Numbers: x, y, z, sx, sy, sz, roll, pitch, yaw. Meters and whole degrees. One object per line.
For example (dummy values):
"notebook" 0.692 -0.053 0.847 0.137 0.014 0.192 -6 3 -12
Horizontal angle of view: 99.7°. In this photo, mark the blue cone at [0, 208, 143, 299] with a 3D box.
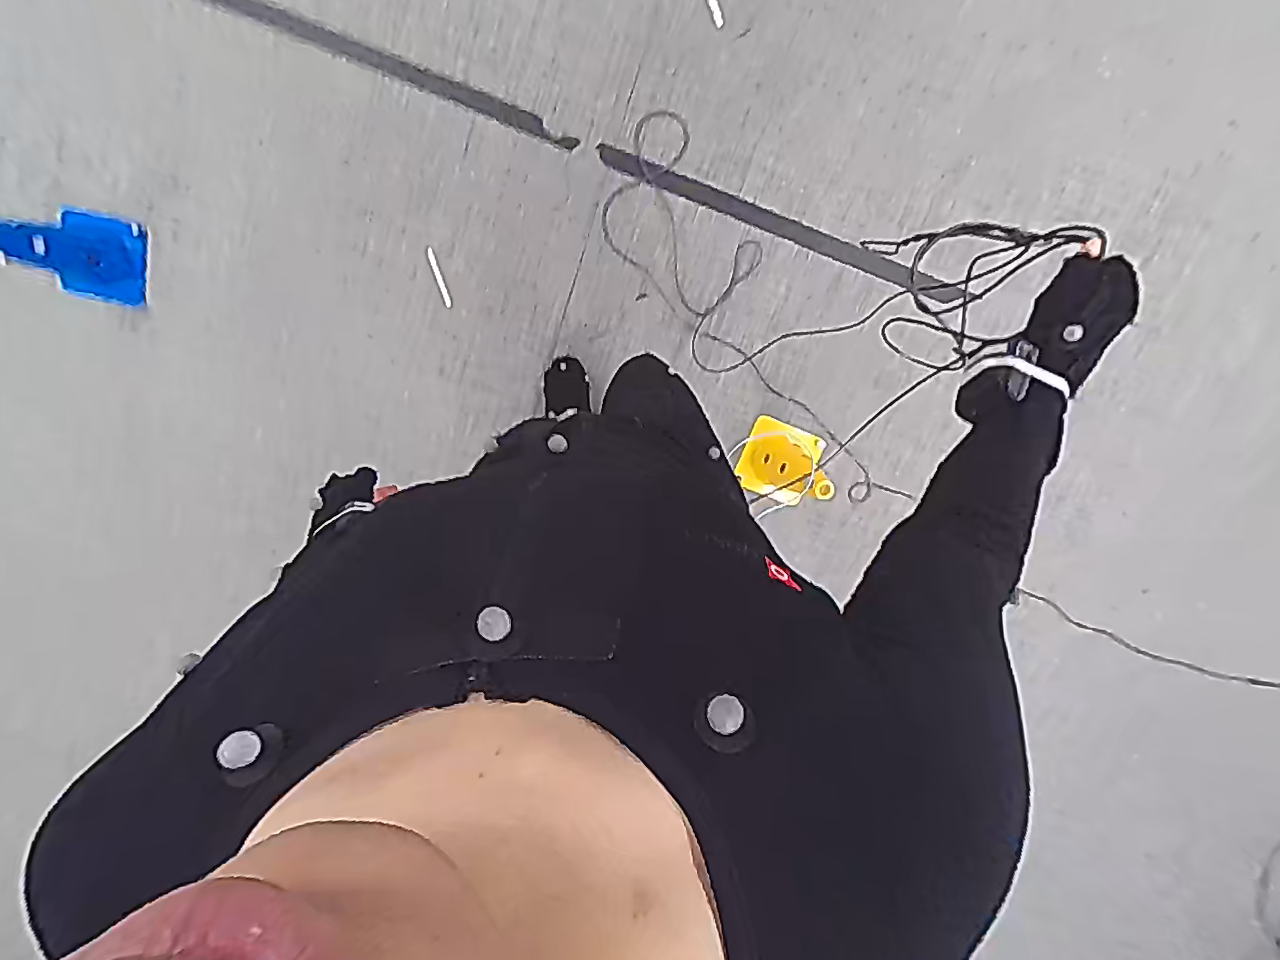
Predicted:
"blue cone" -1.309 -0.514 1.155 0.193 0.380 0.192 14 101 -4
